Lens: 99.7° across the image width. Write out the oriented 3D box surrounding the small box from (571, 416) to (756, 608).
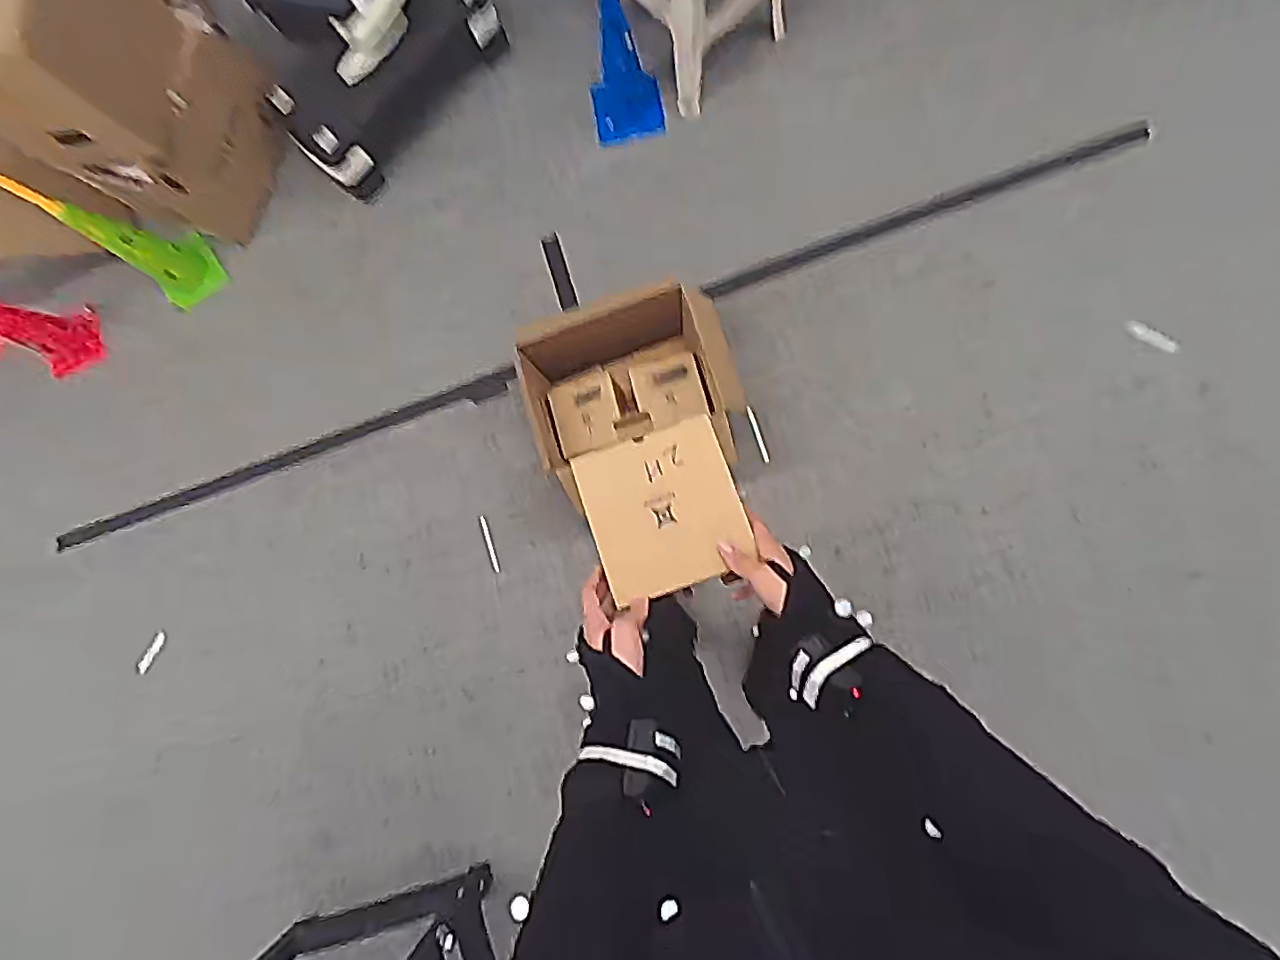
[{"bbox_3d":[0.030,0.047,0.666,0.168,0.176,0.179,-18,77,0],"label":"small box"}]
